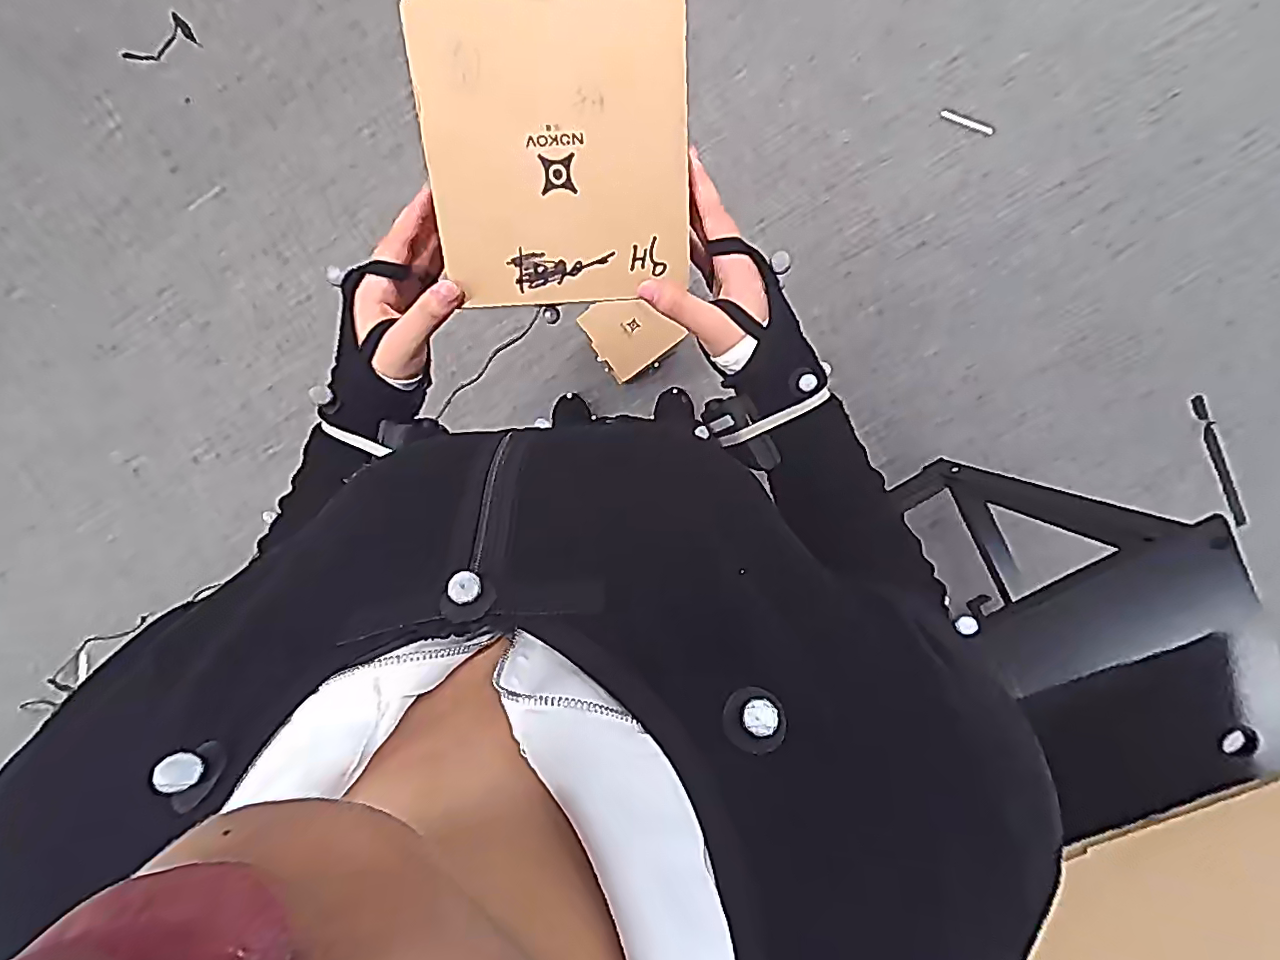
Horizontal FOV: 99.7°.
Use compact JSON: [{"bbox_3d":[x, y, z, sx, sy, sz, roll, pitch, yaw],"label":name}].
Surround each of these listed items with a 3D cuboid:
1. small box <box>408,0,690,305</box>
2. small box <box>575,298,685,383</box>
[{"bbox_3d":[-0.053,-0.232,0.415,0.168,0.176,0.179,-3,111,0],"label":"small box"},{"bbox_3d":[-0.019,-0.329,1.195,0.179,0.176,0.168,-37,99,5],"label":"small box"}]
